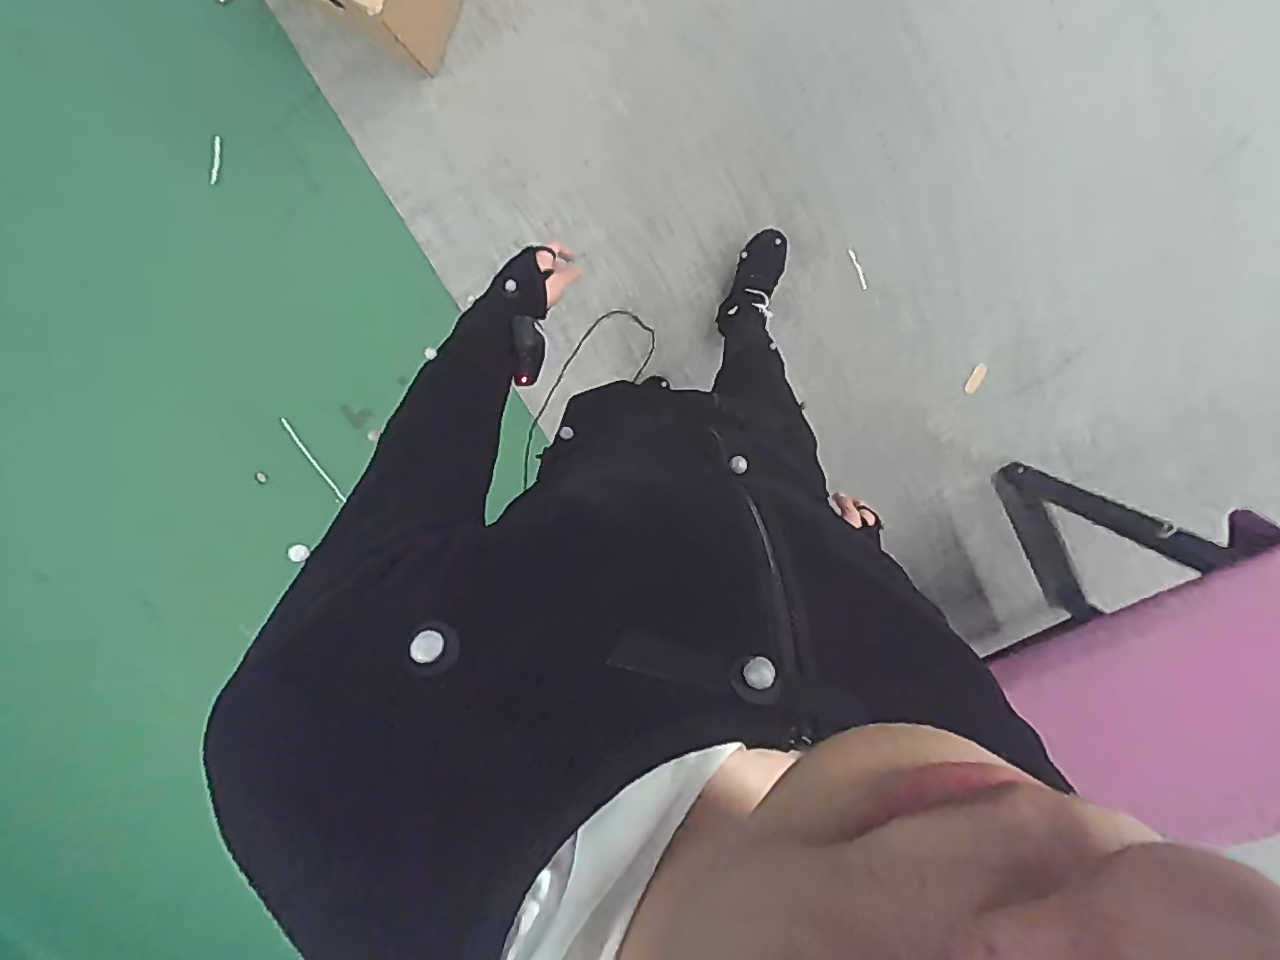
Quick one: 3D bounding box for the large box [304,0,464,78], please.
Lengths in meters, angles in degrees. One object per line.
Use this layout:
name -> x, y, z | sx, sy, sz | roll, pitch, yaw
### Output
large box -> -0.551, -1.184, 1.133 | 0.320, 0.320, 0.408 | 26, 107, -6
